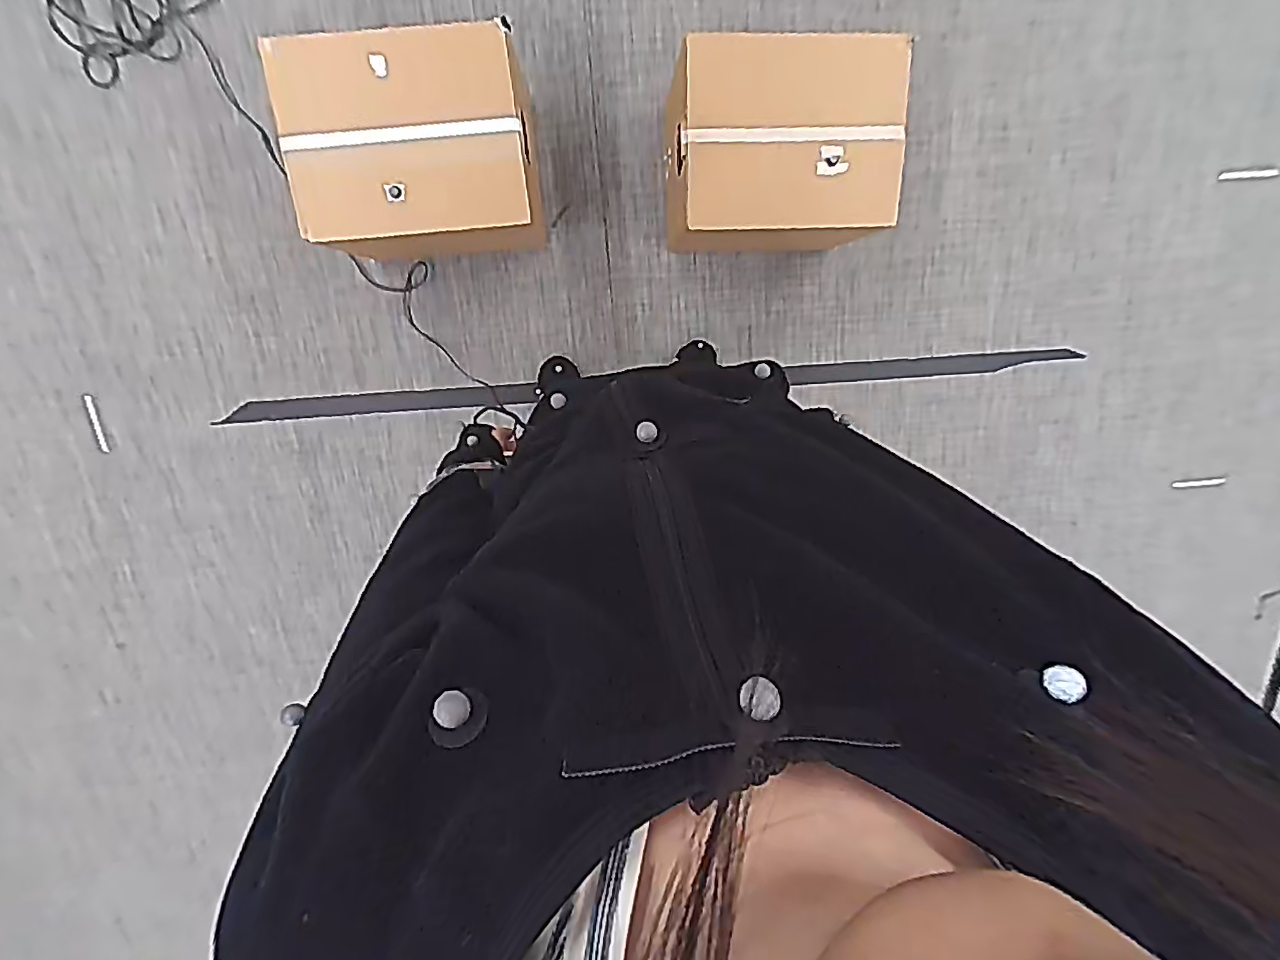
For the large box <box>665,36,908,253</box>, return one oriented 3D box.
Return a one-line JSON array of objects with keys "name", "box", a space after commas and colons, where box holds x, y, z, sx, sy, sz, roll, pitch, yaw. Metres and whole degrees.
[{"name": "large box", "box": [0.272, -0.667, 1.129, 0.408, 0.320, 0.320, -3, 106, -4]}]
